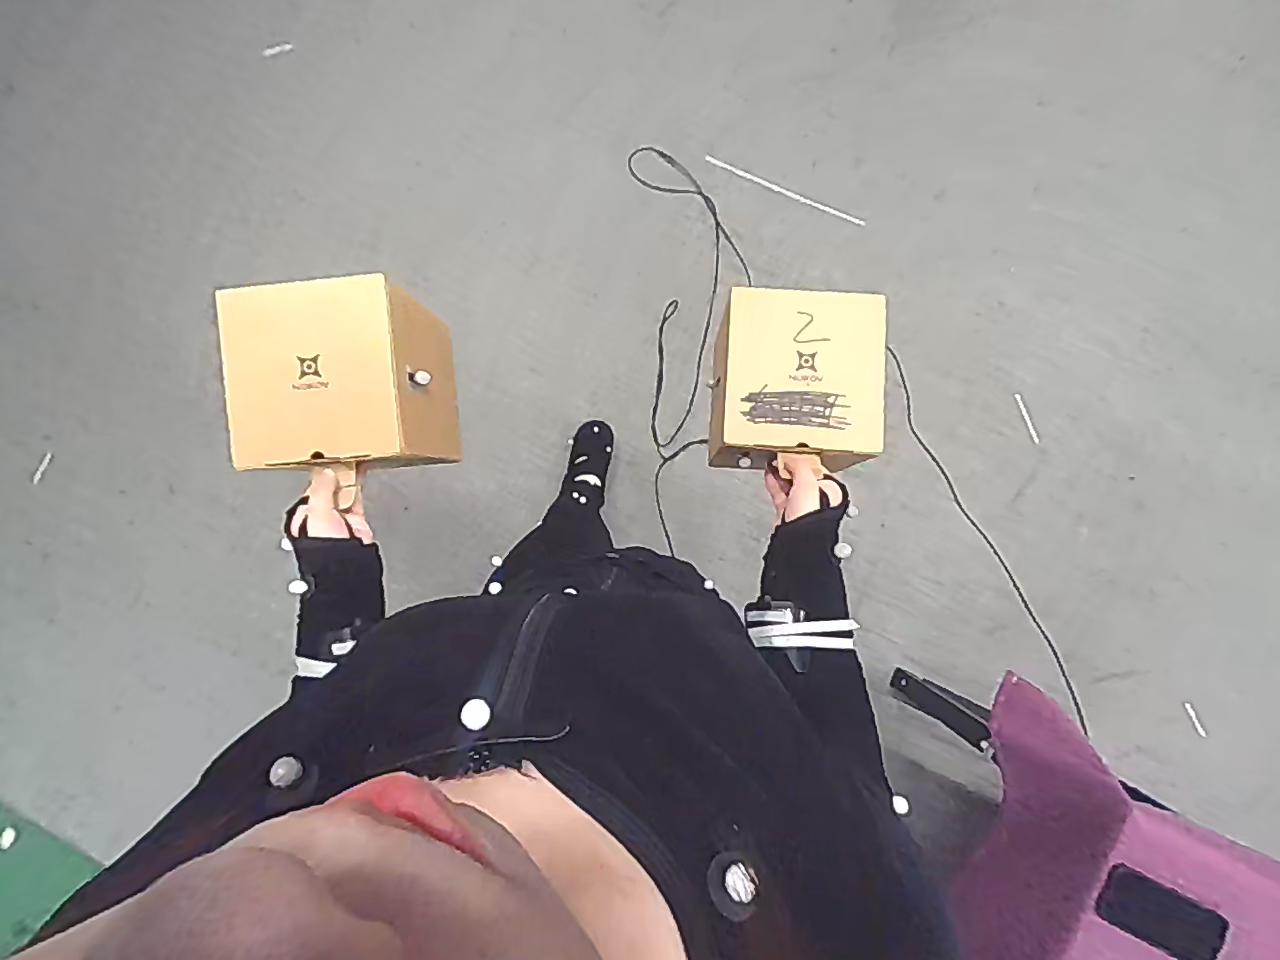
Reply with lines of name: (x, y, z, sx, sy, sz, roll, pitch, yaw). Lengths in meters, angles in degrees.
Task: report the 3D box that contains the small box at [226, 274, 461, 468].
small box: (-0.309, -0.107, 0.597, 0.168, 0.176, 0.179, -4, 91, 1)
